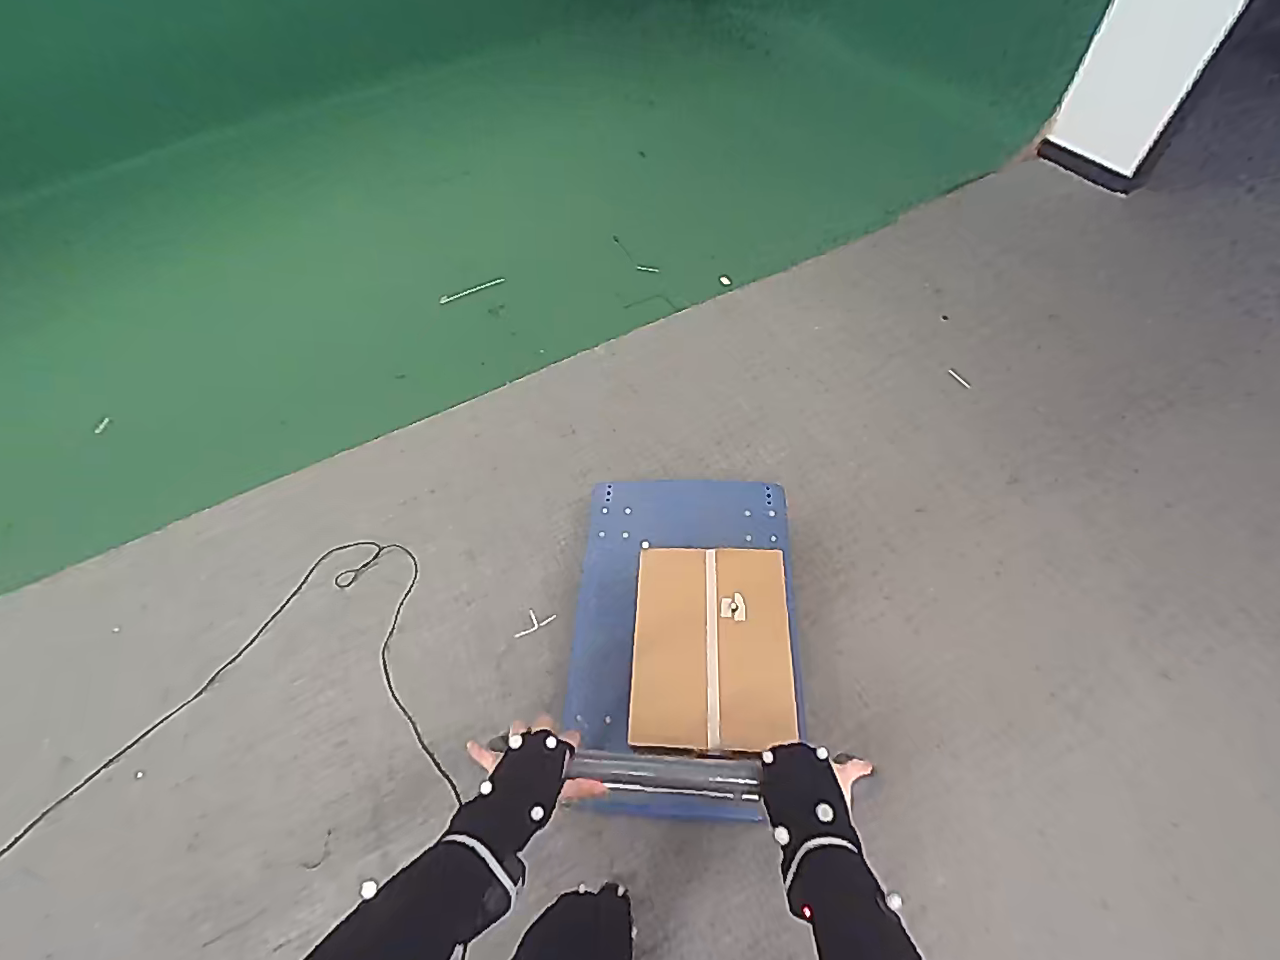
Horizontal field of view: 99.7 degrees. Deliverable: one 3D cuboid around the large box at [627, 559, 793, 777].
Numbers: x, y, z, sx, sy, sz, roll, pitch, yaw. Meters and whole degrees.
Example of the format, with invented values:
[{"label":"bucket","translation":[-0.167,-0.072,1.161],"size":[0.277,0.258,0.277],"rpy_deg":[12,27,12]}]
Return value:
[{"label":"large box","translation":[0.151,0.430,1.230],"size":[0.320,0.320,0.408],"rpy_deg":[1,56,5]}]
